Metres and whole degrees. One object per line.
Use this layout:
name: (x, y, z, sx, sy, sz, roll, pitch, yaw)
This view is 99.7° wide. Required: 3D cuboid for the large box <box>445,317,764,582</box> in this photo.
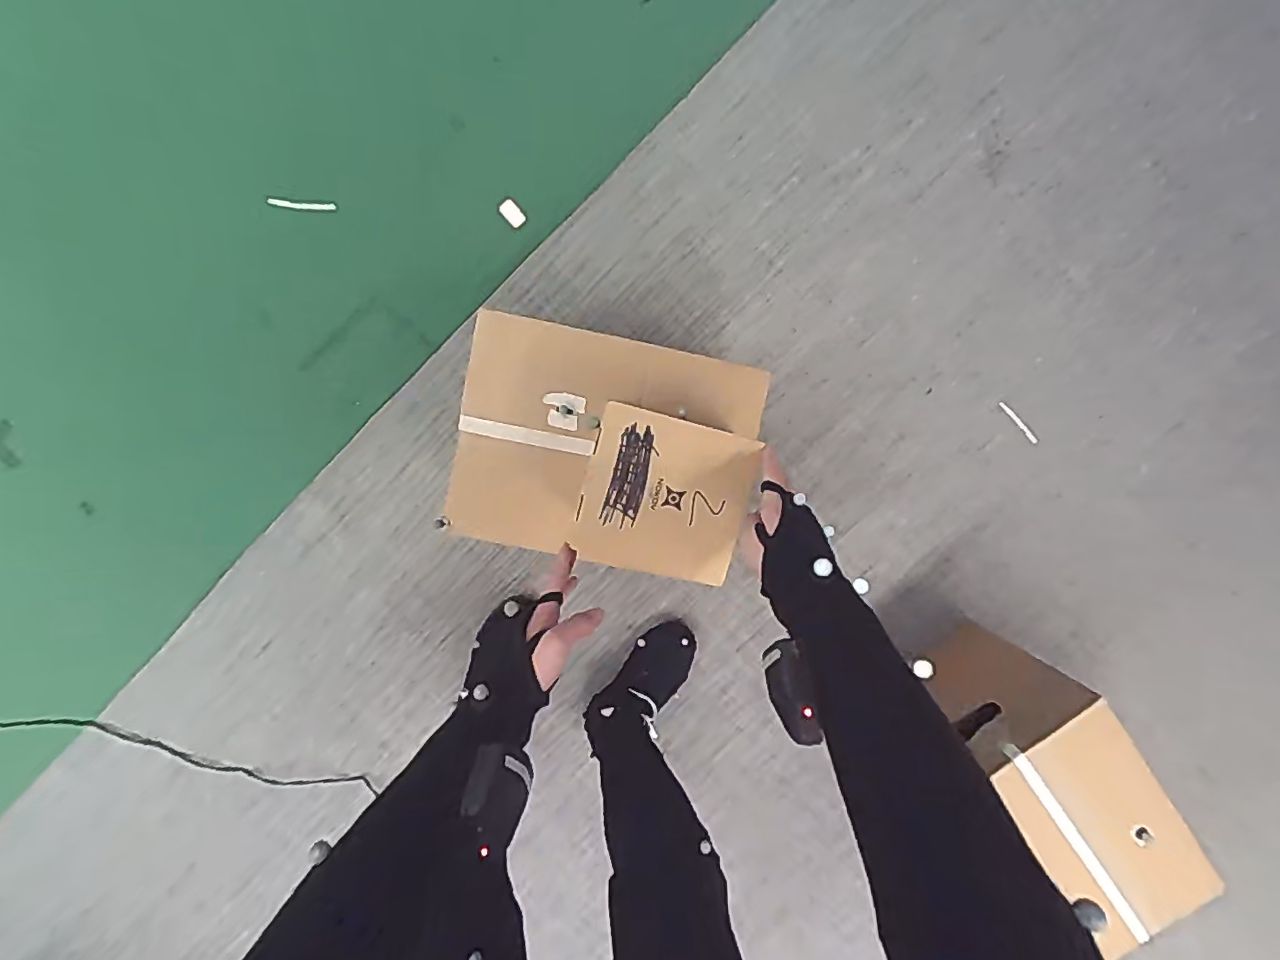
large box: (-0.051, -0.054, 0.892, 0.408, 0.320, 0.320, 11, 96, -2)
